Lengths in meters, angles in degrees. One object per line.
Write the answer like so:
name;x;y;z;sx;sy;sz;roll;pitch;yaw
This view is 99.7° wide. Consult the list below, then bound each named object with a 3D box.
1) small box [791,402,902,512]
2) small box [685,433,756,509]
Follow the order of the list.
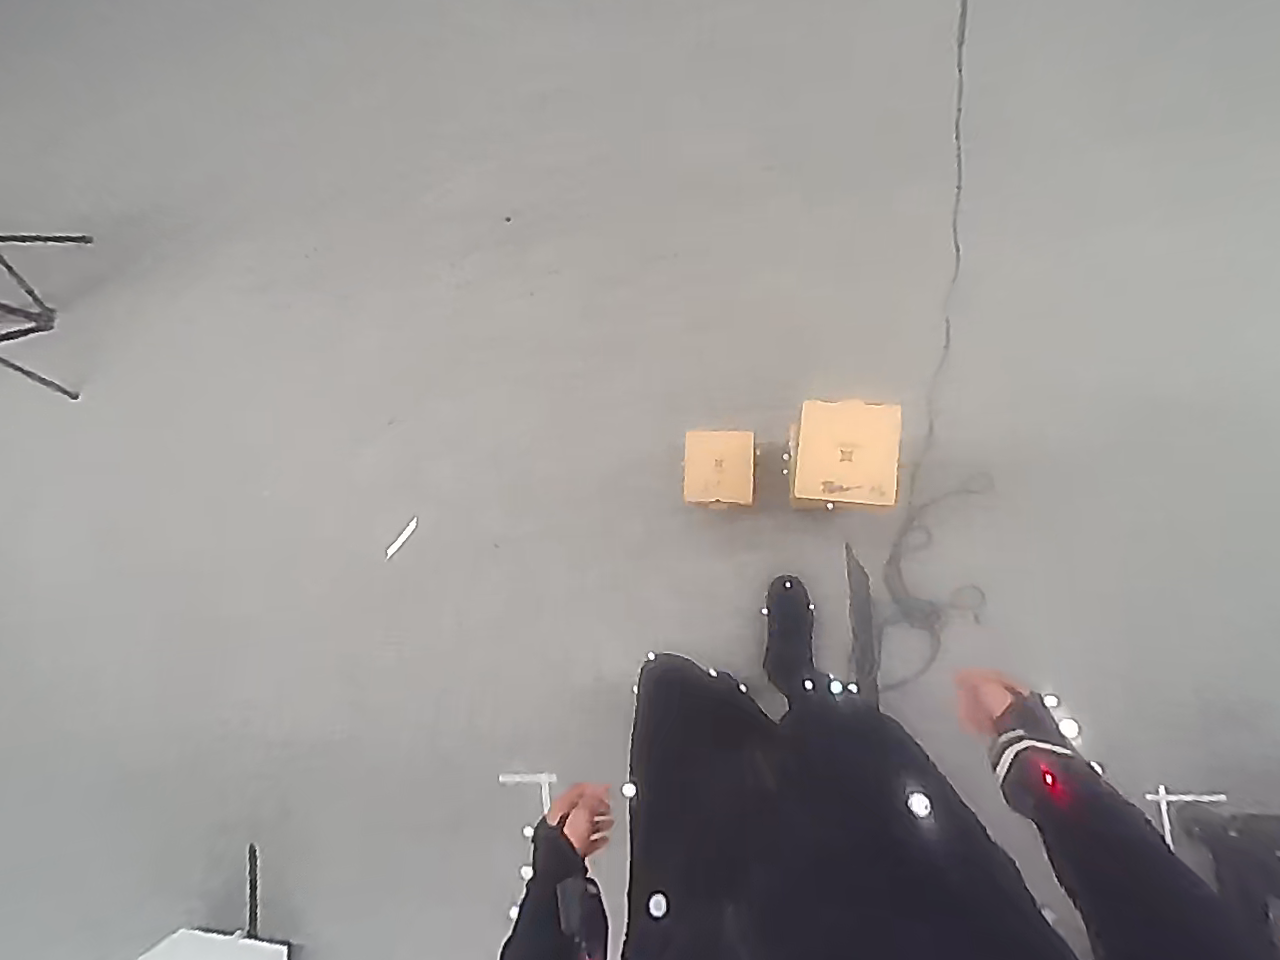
small box;0.375;-0.037;1.009;0.168;0.176;0.179;5;86;14
small box;0.209;-0.020;1.378;0.168;0.176;0.179;1;86;13
